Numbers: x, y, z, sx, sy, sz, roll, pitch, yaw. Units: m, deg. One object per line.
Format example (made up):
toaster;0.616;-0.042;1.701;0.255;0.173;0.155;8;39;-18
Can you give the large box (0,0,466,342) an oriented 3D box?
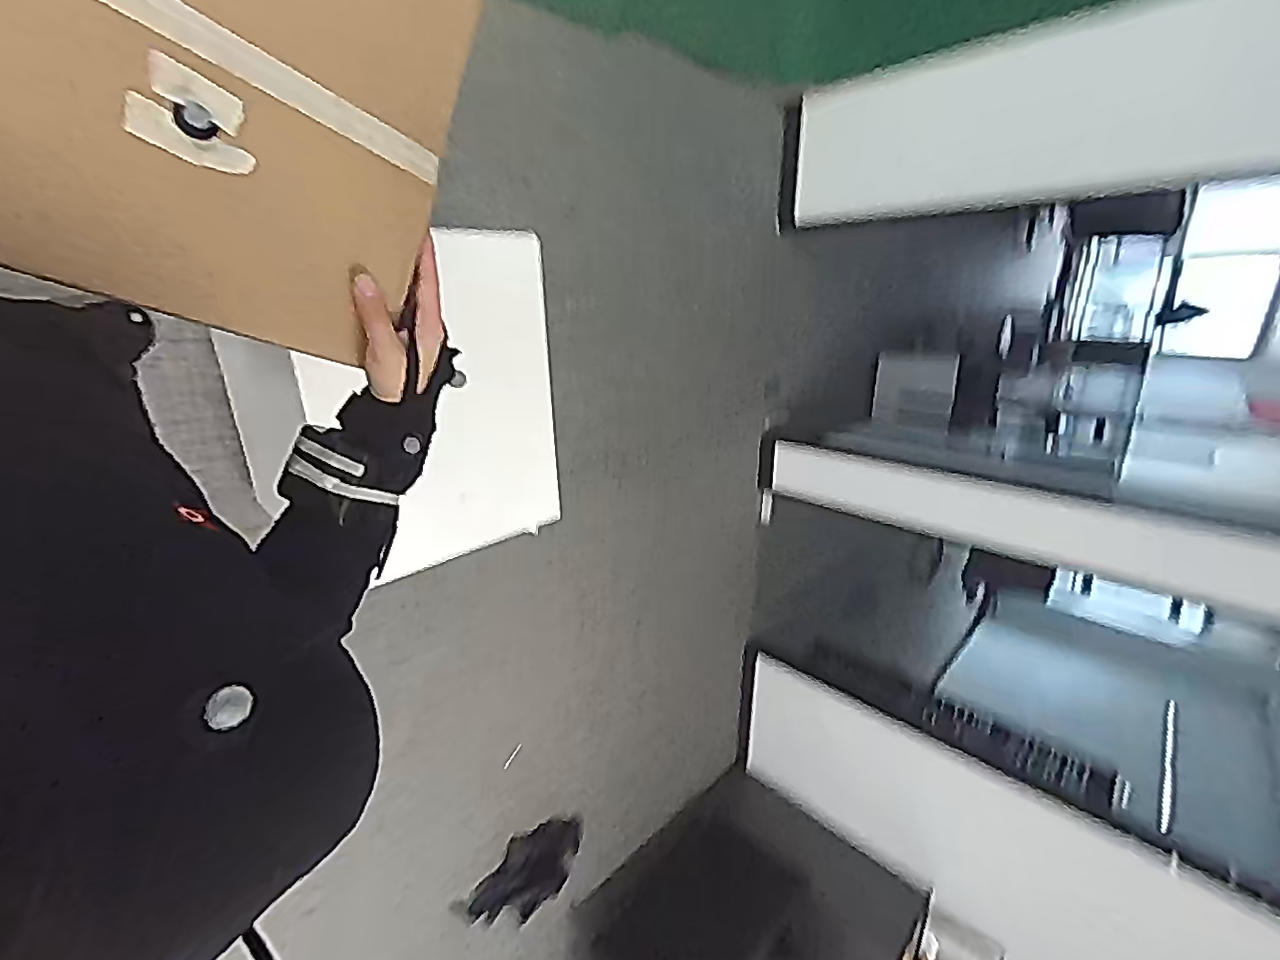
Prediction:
large box;-0.398;-0.315;0.371;0.408;0.320;0.320;11;98;-46
